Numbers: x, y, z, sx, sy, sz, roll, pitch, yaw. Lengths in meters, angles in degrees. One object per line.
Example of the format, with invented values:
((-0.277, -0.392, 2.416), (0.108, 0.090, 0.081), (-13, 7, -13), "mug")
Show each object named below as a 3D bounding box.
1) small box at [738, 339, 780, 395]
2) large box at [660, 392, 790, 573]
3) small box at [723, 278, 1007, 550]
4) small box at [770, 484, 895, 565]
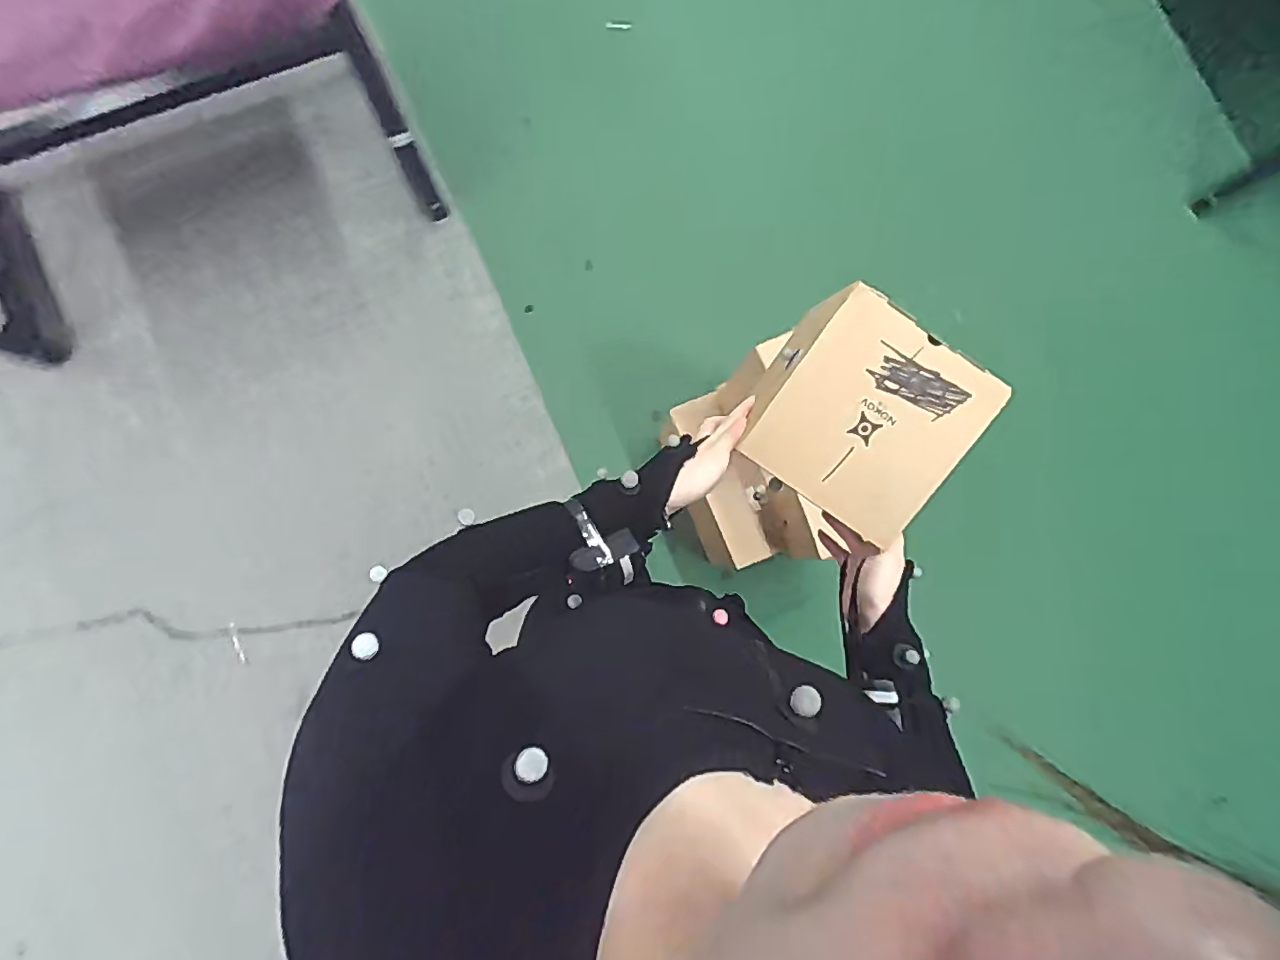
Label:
((0.304, -0.173, 0.997), (0.179, 0.176, 0.168), (-23, 85, -5), "small box")
((0.277, -0.012, 1.387), (0.320, 0.320, 0.408), (-22, 85, -5), "large box")
((0.196, -0.065, 0.535), (0.168, 0.176, 0.179), (33, 100, -2), "small box")
((0.395, 0.069, 1.137), (0.168, 0.176, 0.179), (-17, 84, -6), "small box")
